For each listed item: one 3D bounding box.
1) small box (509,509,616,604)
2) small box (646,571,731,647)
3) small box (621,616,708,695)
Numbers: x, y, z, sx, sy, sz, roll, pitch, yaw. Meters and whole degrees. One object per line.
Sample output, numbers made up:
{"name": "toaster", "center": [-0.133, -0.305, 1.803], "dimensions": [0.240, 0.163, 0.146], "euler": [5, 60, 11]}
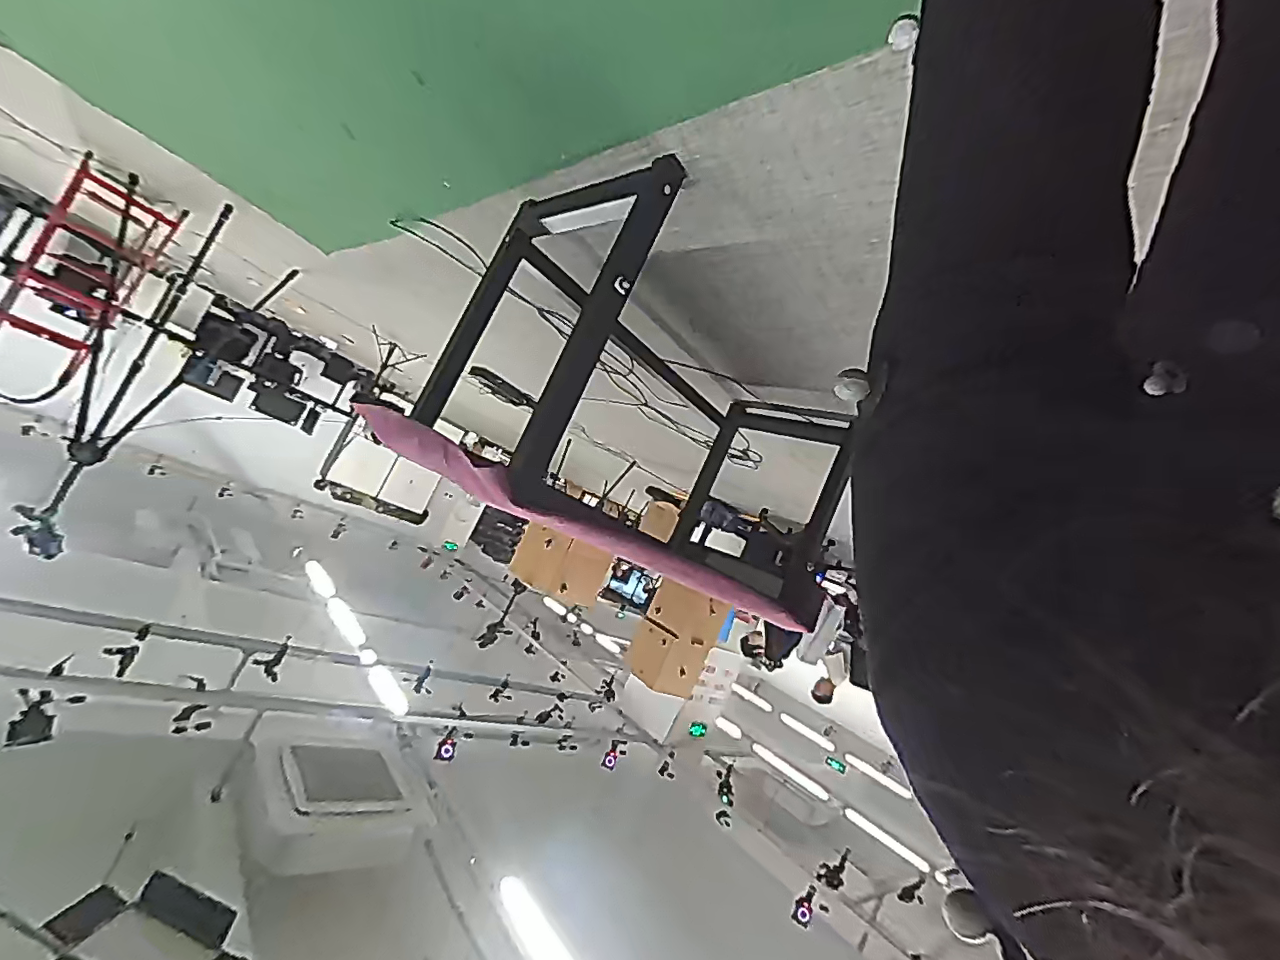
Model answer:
{"name": "small box", "center": [-0.191, 0.194, 1.381], "dimensions": [0.168, 0.176, 0.179], "euler": [20, 171, 40]}
{"name": "small box", "center": [0.159, 0.404, 1.729], "dimensions": [0.168, 0.176, 0.179], "euler": [30, 172, -37]}
{"name": "small box", "center": [0.080, 0.551, 1.709], "dimensions": [0.179, 0.176, 0.168], "euler": [31, 173, -39]}
